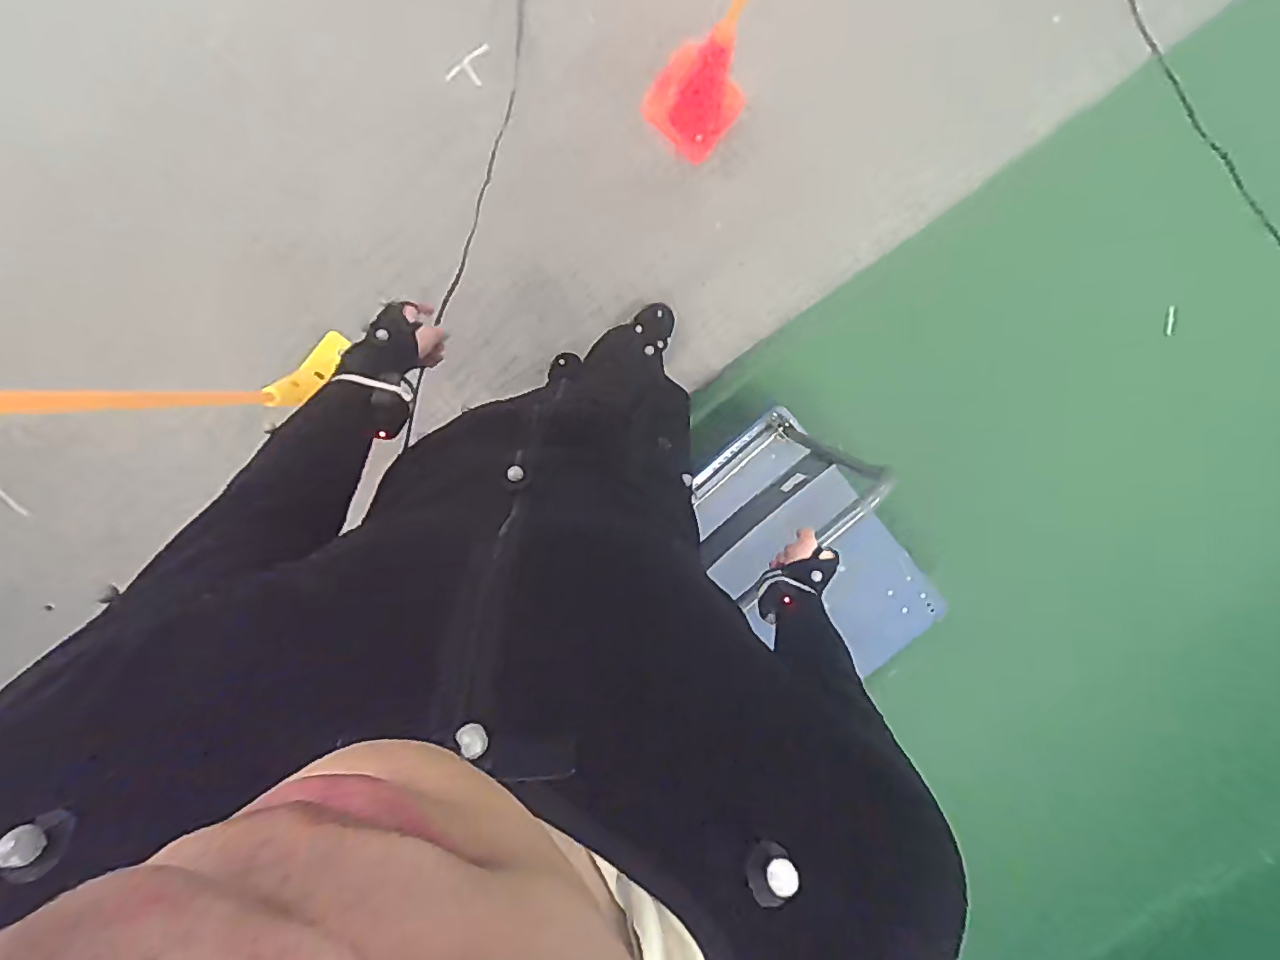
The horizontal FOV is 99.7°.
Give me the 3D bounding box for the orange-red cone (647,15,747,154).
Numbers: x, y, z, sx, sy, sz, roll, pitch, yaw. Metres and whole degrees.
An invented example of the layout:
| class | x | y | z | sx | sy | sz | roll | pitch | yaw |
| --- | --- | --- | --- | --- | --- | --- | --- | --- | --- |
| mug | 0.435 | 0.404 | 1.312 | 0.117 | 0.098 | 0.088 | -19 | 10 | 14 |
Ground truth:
| class | x | y | z | sx | sy | sz | roll | pitch | yaw |
| --- | --- | --- | --- | --- | --- | --- | --- | --- | --- |
| orange-red cone | 0.160 | -0.914 | 1.194 | 0.198 | 0.360 | 0.199 | 38 | 99 | -15 |
